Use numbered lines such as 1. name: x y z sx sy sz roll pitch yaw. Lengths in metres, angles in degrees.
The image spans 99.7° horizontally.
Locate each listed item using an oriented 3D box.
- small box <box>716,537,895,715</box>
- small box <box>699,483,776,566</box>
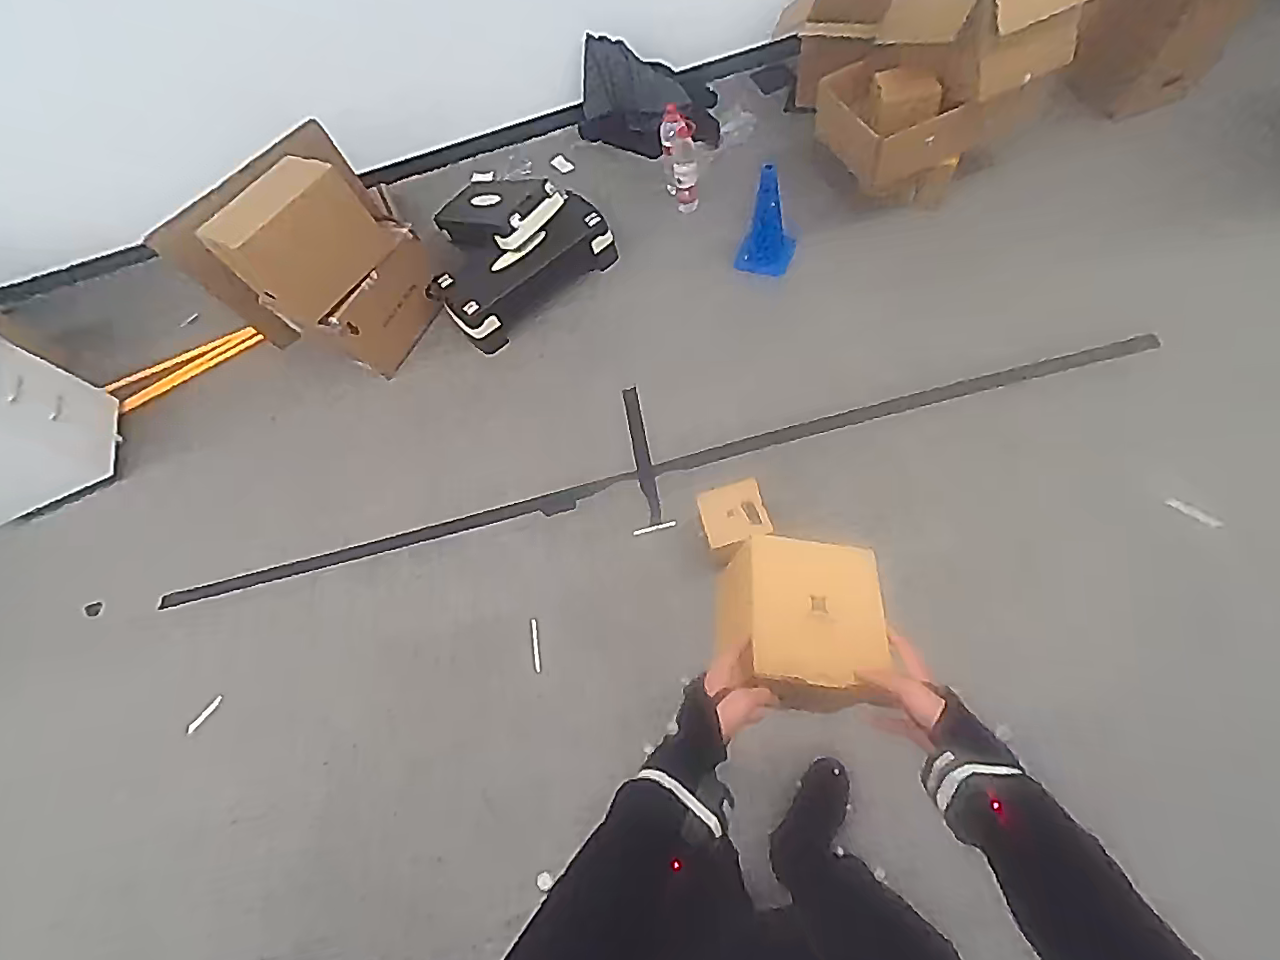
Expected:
1. small box: 0.200 0.197 0.710 0.168 0.176 0.179 8 59 -5
2. small box: 0.276 0.131 1.543 0.179 0.176 0.168 -17 64 5
